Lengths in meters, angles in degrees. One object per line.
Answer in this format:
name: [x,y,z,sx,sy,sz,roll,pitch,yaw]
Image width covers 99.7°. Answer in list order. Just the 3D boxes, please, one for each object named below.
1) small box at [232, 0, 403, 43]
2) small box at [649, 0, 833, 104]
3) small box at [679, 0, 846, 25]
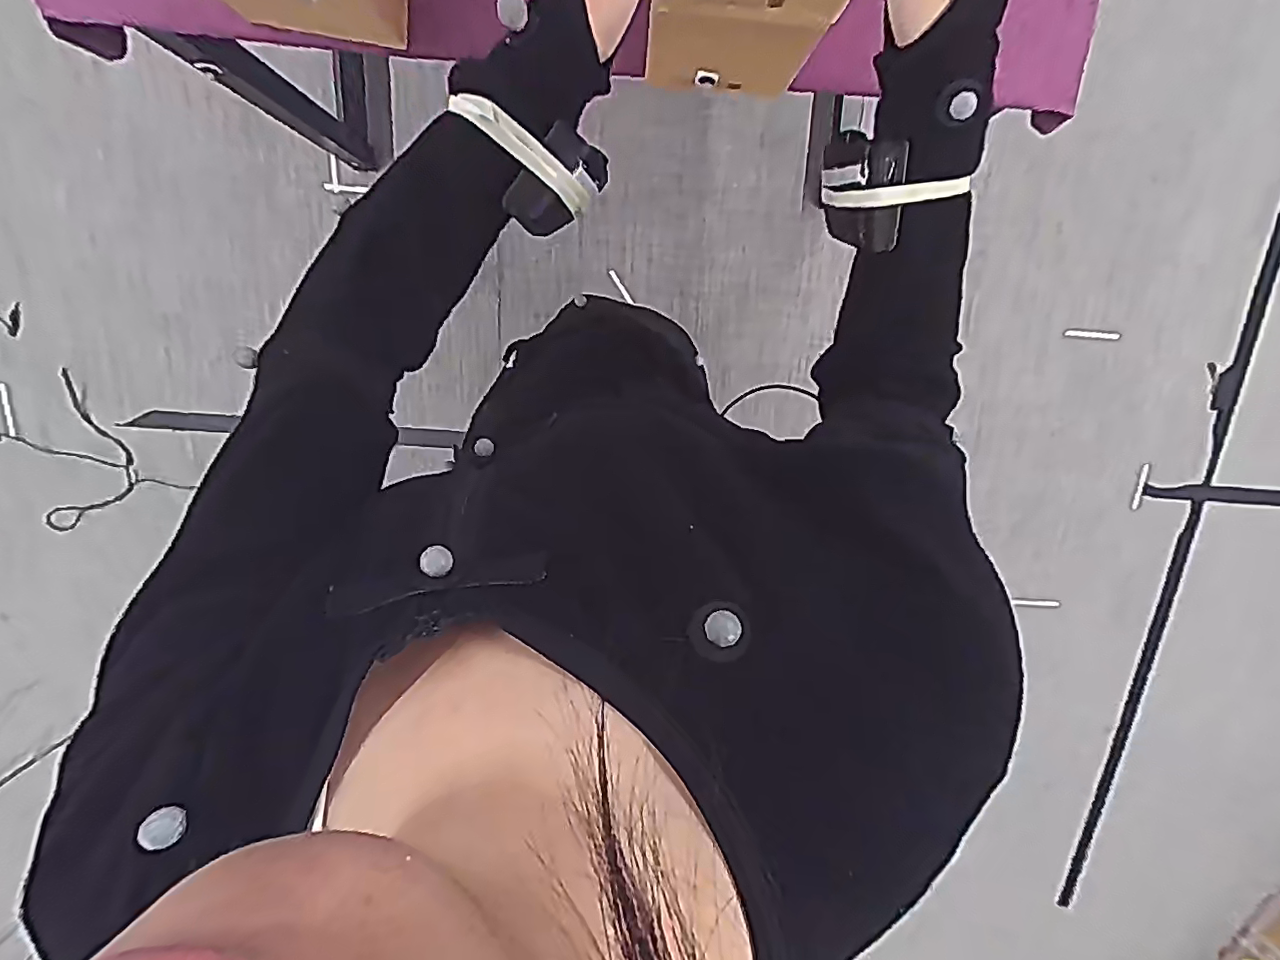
small box: [-0.336,-0.561,0.515,0.179,0.176,0.168,7,104,-4]
small box: [0.099,-0.520,0.546,0.168,0.176,0.179,4,106,-2]
small box: [0.104,-0.476,0.390,0.168,0.176,0.179,3,104,-2]
